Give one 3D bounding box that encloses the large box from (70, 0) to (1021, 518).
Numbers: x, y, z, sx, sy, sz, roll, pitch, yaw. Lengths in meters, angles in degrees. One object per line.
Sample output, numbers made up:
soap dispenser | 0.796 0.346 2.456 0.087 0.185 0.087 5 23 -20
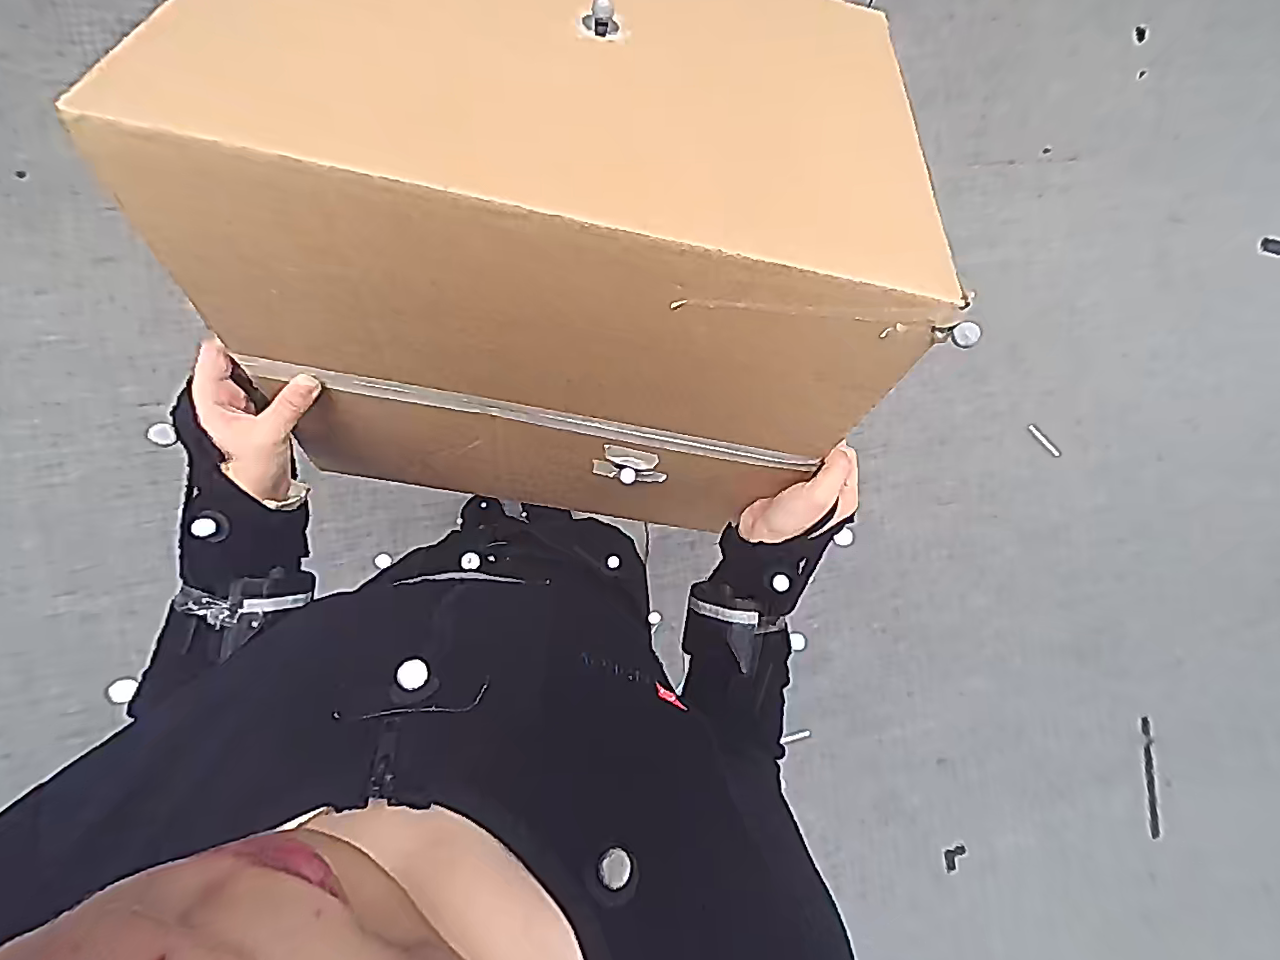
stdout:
large box | -0.037 -0.193 0.422 0.408 0.320 0.320 8 63 -7
